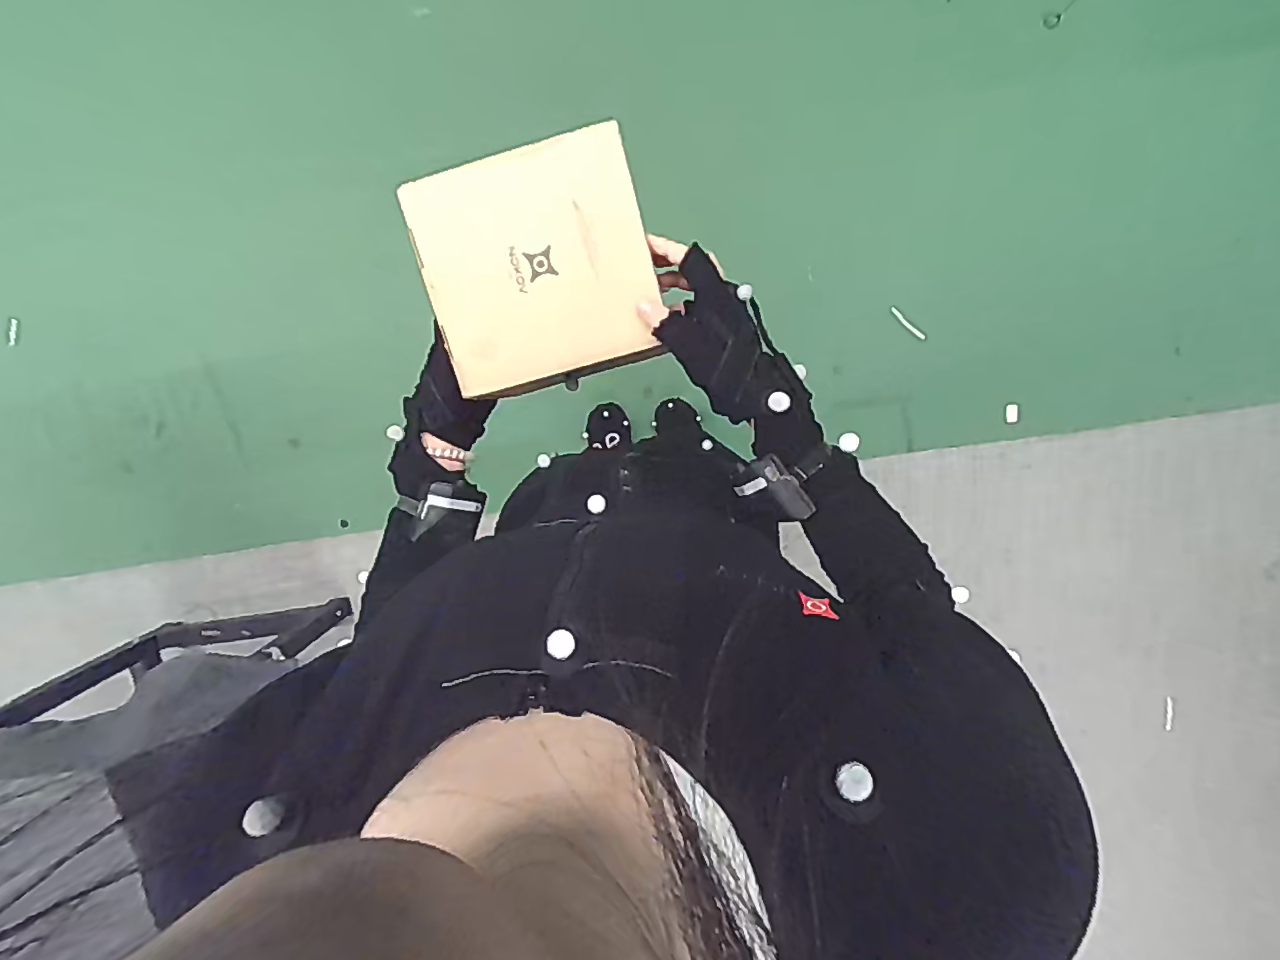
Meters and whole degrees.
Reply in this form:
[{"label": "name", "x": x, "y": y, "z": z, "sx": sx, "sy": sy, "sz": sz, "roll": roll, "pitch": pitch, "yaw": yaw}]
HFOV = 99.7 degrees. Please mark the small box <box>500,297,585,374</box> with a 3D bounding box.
[{"label": "small box", "x": -0.236, "y": -0.358, "z": 1.358, "sx": 0.179, "sy": 0.176, "sz": 0.168, "roll": -5, "pitch": 99, "yaw": 3}]
